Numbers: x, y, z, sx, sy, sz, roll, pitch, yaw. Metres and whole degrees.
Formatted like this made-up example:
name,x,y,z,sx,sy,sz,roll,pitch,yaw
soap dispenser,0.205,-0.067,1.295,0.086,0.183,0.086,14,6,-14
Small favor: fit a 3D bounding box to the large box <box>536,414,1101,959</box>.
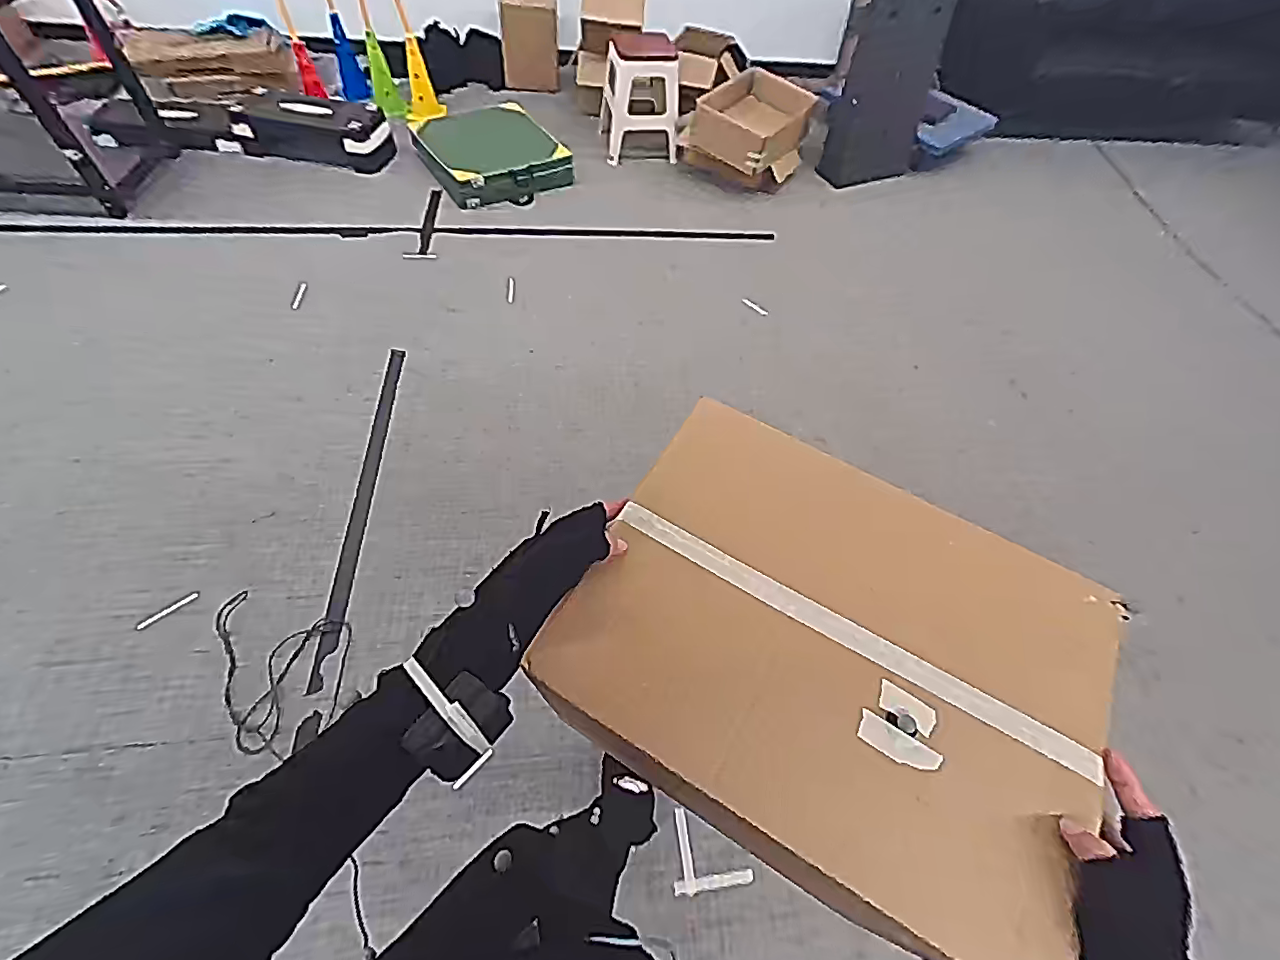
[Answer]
name,x,y,z,sx,sy,sz,roll,pitch,yaw
large box,0.153,0.202,0.580,0.408,0.320,0.320,29,63,13
